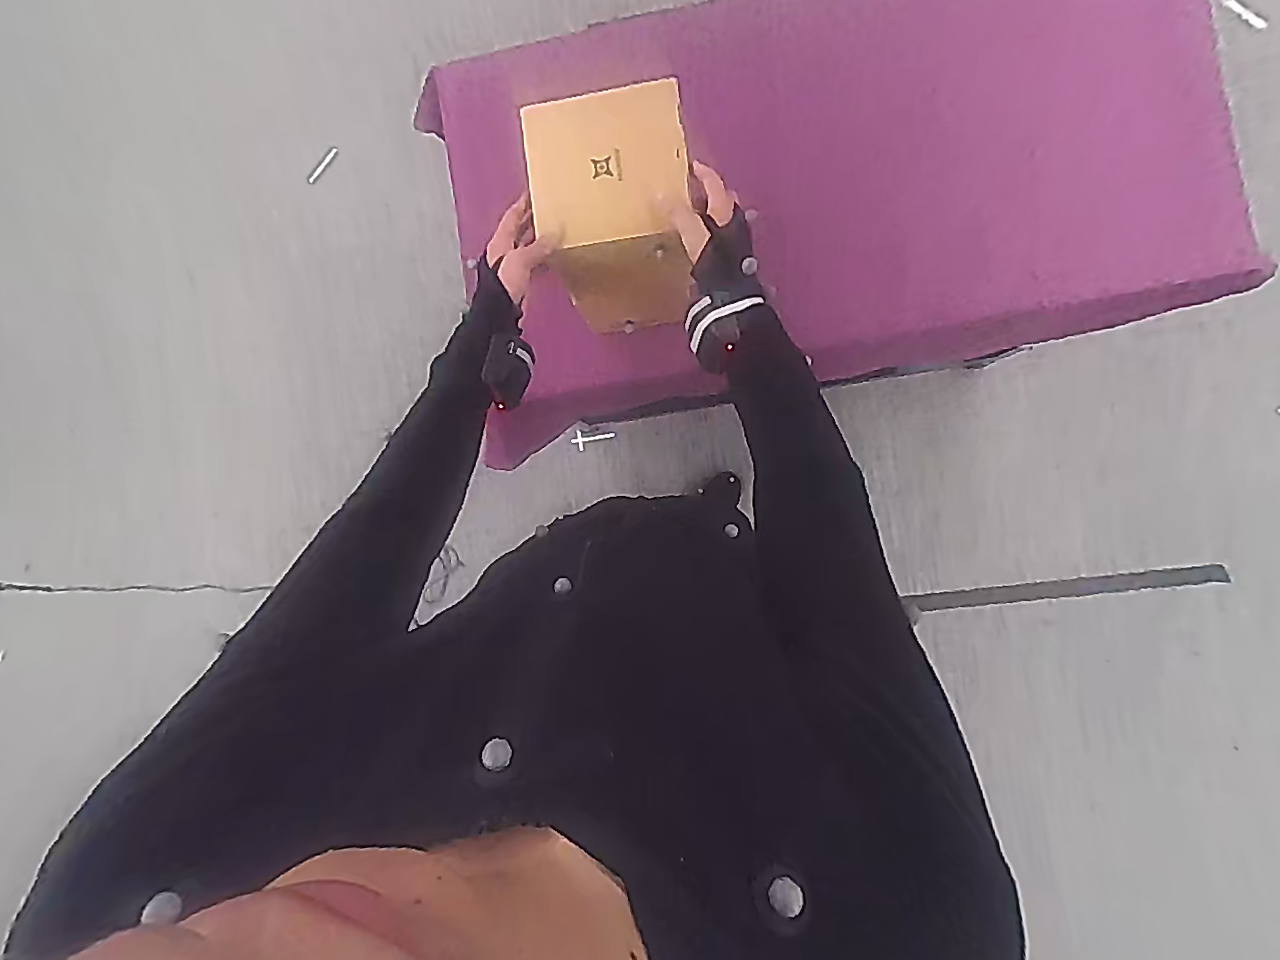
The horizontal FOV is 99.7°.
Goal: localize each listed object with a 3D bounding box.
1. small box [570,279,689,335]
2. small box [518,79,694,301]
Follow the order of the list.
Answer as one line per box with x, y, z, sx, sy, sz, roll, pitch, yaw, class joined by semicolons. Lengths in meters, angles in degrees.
-0.017;-0.337;0.820;0.168;0.176;0.179;-8;90;7;small box
-0.031;-0.332;0.658;0.179;0.176;0.168;-7;89;6;small box
